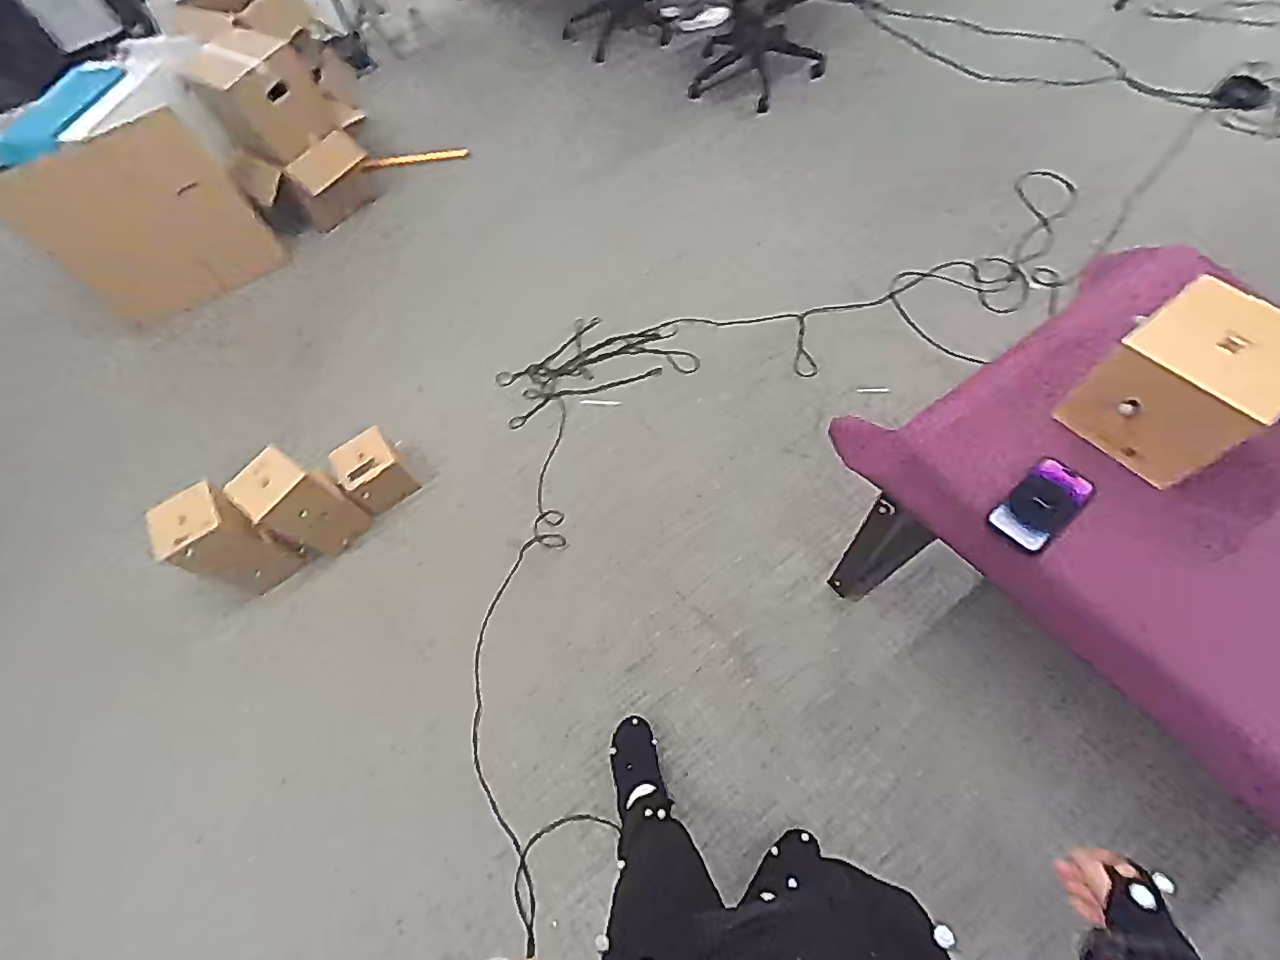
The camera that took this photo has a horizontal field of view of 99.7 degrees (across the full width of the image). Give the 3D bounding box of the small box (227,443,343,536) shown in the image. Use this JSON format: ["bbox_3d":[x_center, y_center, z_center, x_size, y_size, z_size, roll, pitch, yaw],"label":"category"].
[{"bbox_3d":[-0.973,0.034,1.499,0.179,0.176,0.168,31,71,22],"label":"small box"}]

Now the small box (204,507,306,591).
[{"bbox_3d":[-1.140,0.202,1.618,0.179,0.176,0.168,-35,62,-10],"label":"small box"}]

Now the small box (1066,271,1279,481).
[{"bbox_3d":[0.718,-0.129,0.712,0.179,0.176,0.168,-35,63,-12],"label":"small box"}]
